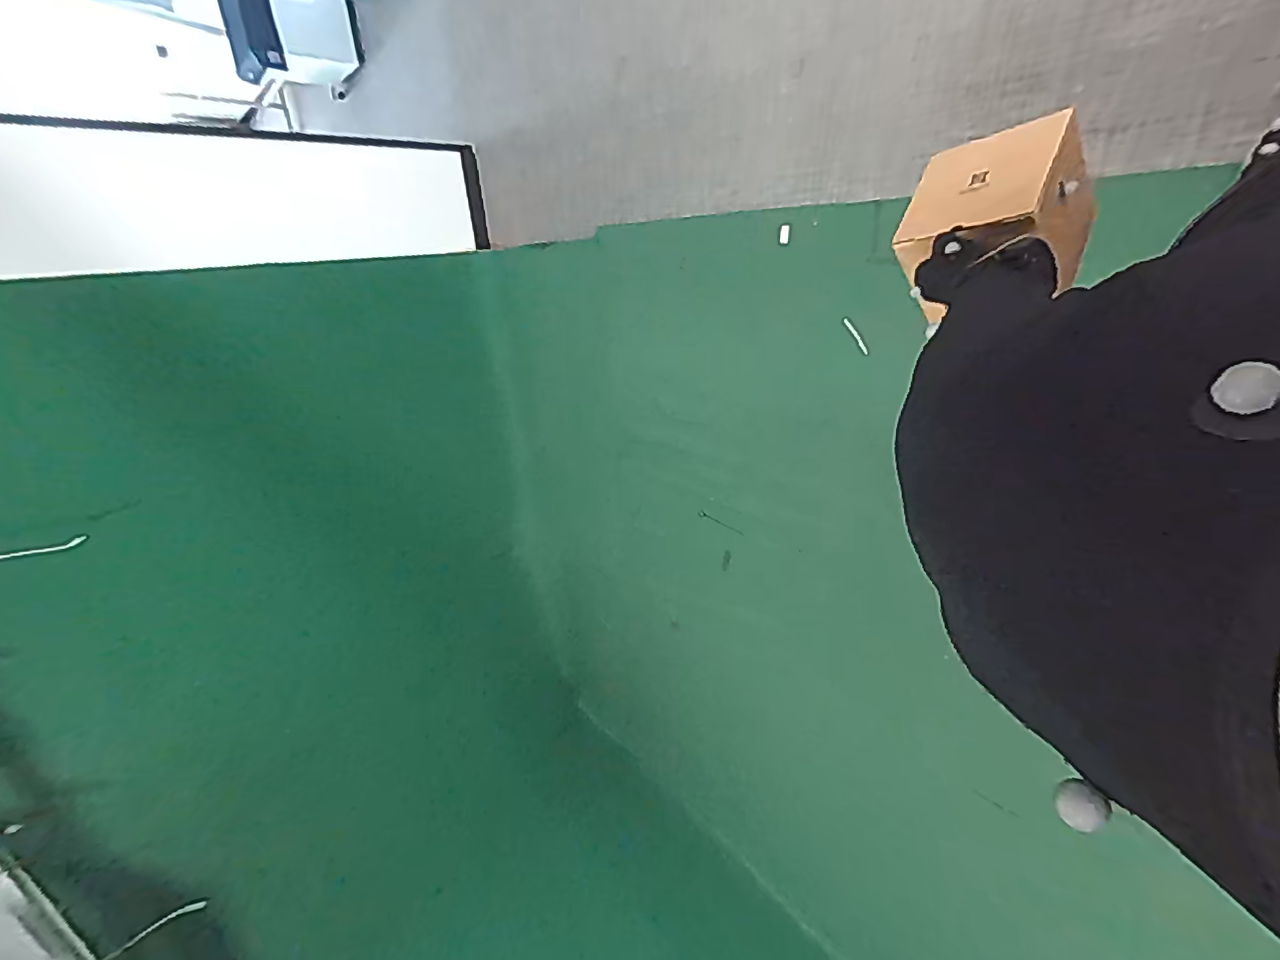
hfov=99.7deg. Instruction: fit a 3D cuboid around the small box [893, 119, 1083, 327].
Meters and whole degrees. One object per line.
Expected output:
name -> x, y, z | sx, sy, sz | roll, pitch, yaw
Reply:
small box -> 0.487, -0.340, 0.750 | 0.176, 0.179, 0.168 | 39, 162, -35
